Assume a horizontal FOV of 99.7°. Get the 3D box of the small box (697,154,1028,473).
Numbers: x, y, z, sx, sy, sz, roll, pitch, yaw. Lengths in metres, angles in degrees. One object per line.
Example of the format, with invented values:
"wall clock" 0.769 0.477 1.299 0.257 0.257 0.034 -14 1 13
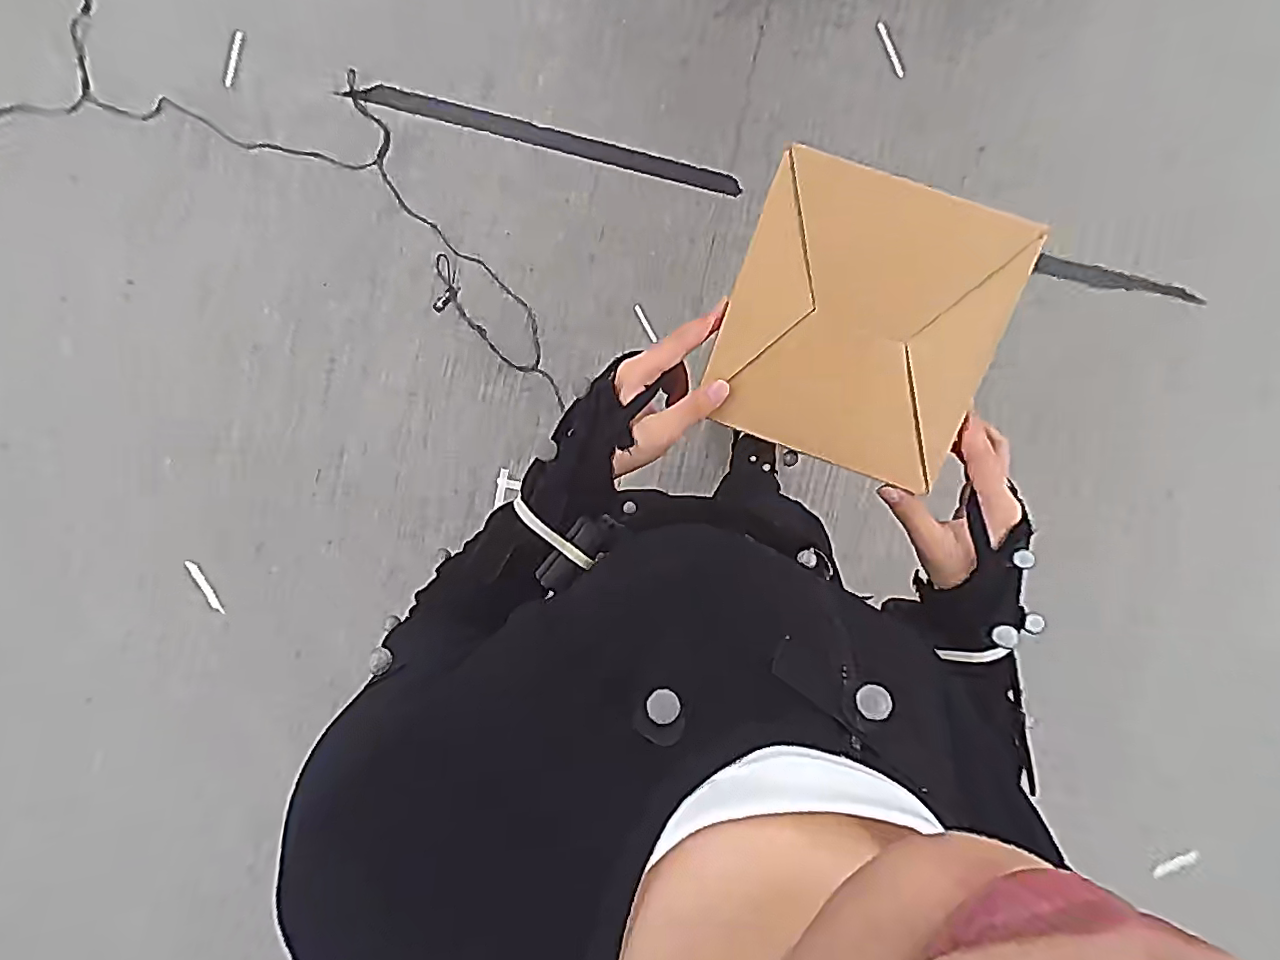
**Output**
"small box" 0.147 -0.112 0.424 0.168 0.176 0.179 19 100 2
